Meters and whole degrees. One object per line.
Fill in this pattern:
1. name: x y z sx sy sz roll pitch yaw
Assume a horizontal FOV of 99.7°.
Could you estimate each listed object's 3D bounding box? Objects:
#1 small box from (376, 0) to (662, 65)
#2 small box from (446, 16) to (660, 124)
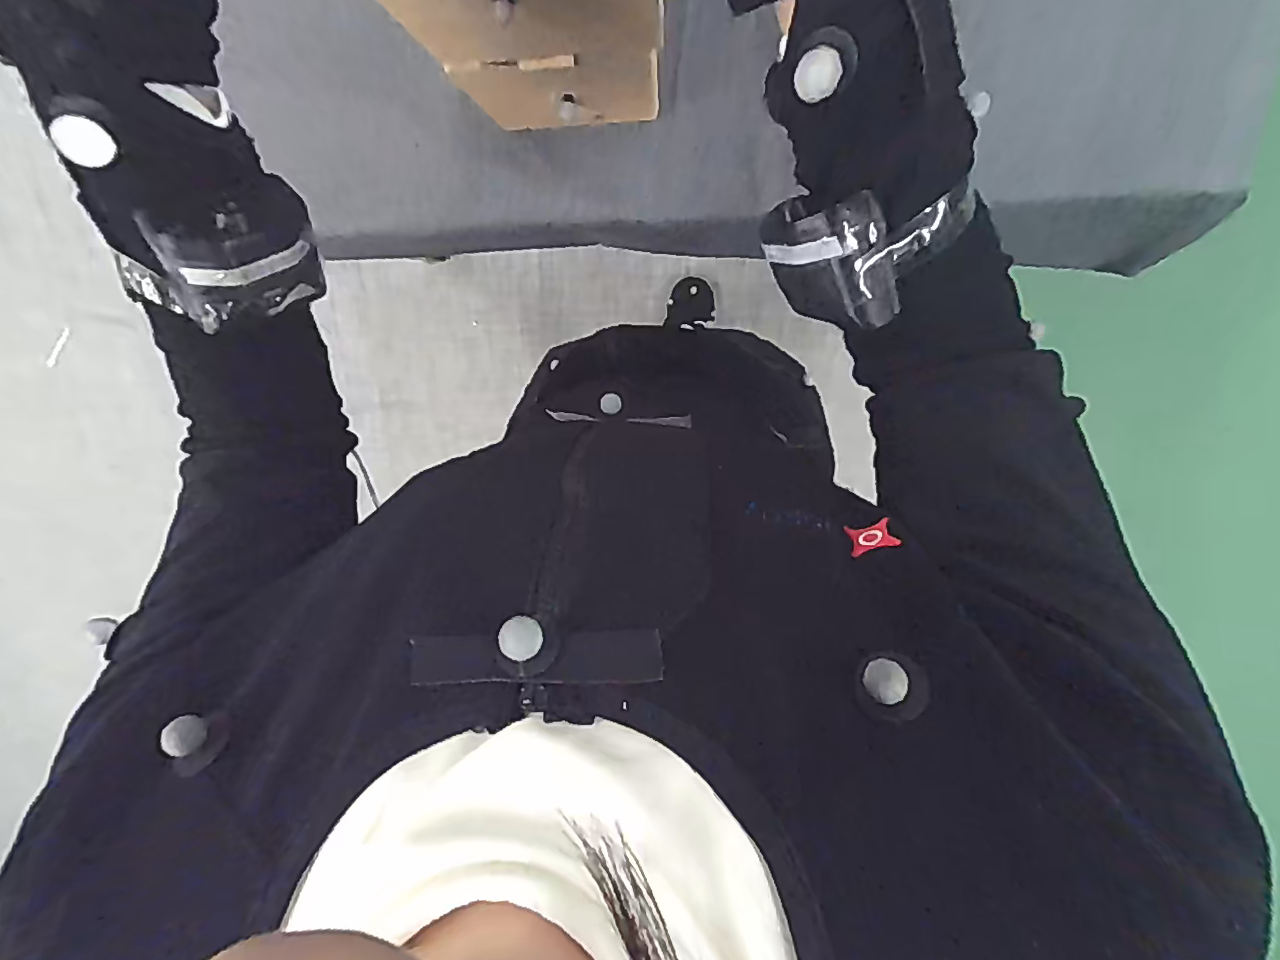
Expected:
1. small box: -0.075 -0.373 0.315 0.179 0.176 0.168 0 109 5
2. small box: -0.070 -0.430 0.469 0.168 0.176 0.179 -2 109 5
